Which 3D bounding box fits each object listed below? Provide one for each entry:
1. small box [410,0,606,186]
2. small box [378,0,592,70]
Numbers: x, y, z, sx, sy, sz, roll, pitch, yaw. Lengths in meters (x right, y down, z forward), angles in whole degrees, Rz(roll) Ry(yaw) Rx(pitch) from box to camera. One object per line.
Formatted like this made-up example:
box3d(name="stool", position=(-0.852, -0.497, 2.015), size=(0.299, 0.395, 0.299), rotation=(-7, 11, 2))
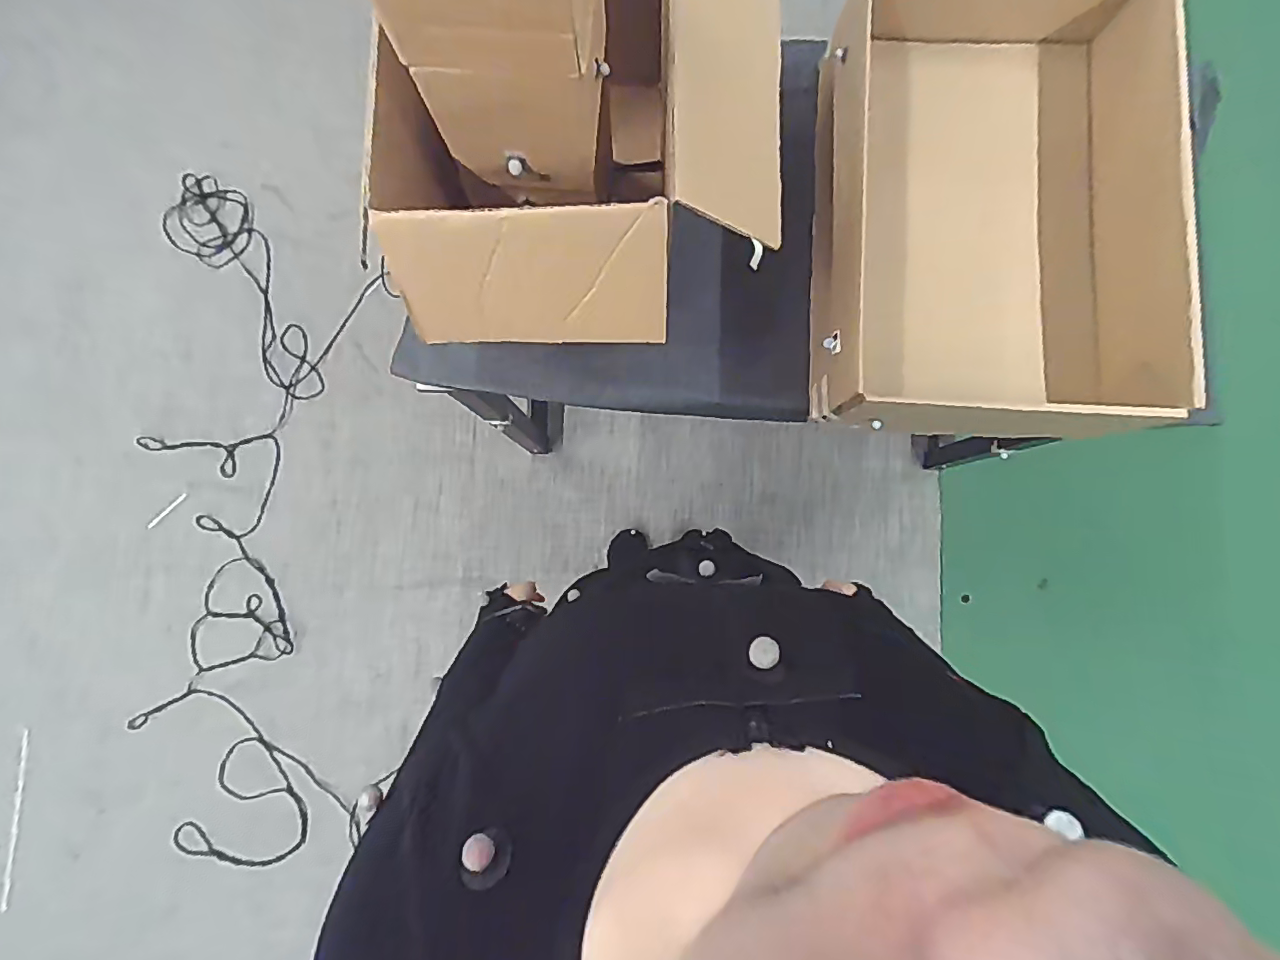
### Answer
box3d(name="small box", position=(-0.129, -0.463, 0.595), size=(0.168, 0.176, 0.179), rotation=(5, 86, 1))
box3d(name="small box", position=(-0.132, -0.475, 0.434), size=(0.179, 0.176, 0.168), rotation=(6, 85, 1))
